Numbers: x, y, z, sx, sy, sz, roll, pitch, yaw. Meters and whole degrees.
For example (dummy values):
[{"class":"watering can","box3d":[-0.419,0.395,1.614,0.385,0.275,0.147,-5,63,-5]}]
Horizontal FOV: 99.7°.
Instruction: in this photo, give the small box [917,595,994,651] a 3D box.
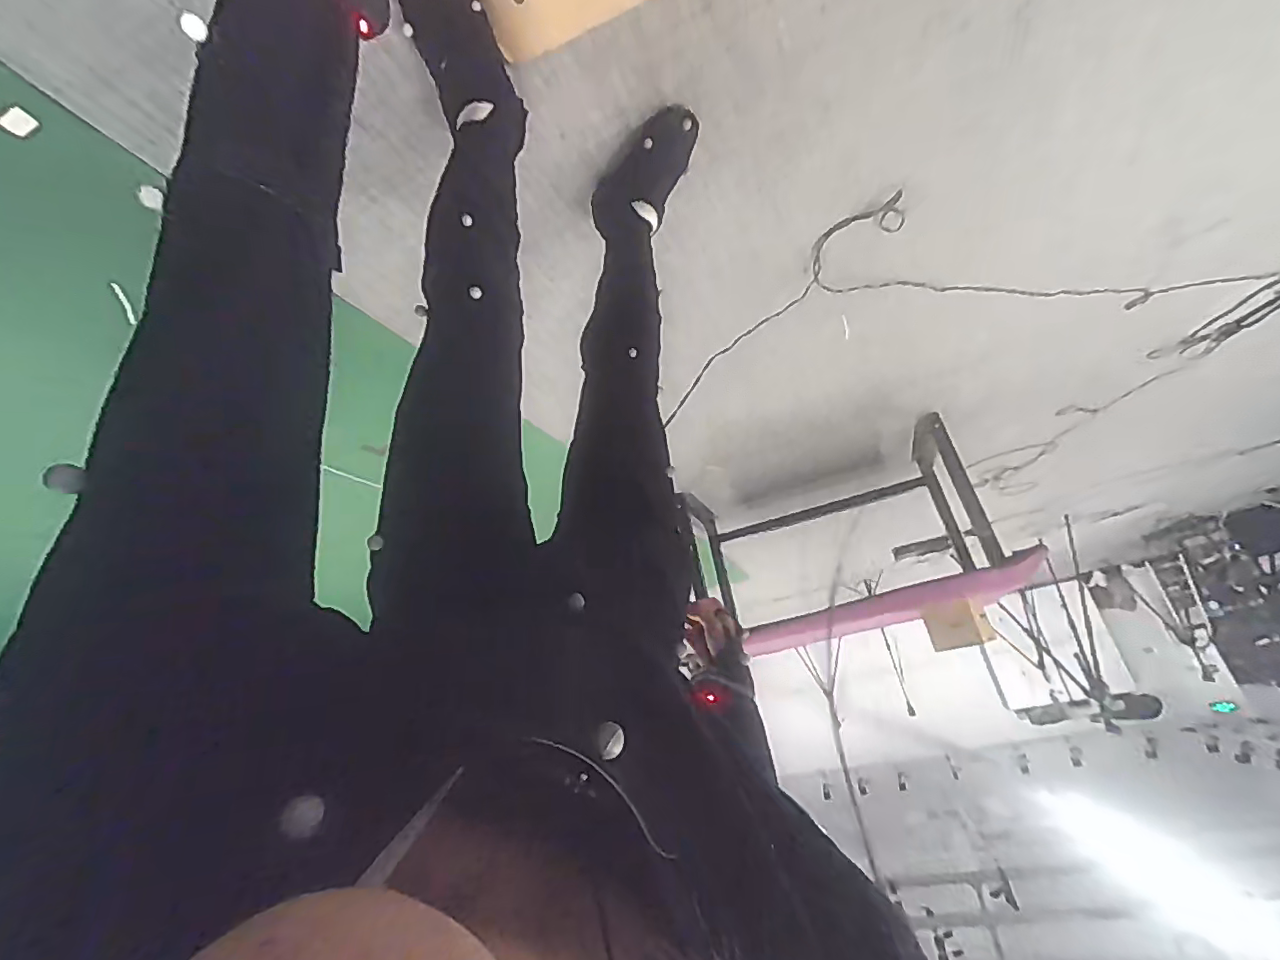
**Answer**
[{"class":"small box","box3d":[1.179,0.534,2.026,0.168,0.176,0.179,12,147,-42]}]

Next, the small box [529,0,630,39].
[{"class":"small box","box3d":[-0.077,-0.654,0.591,0.168,0.176,0.179,-18,155,12]}]
